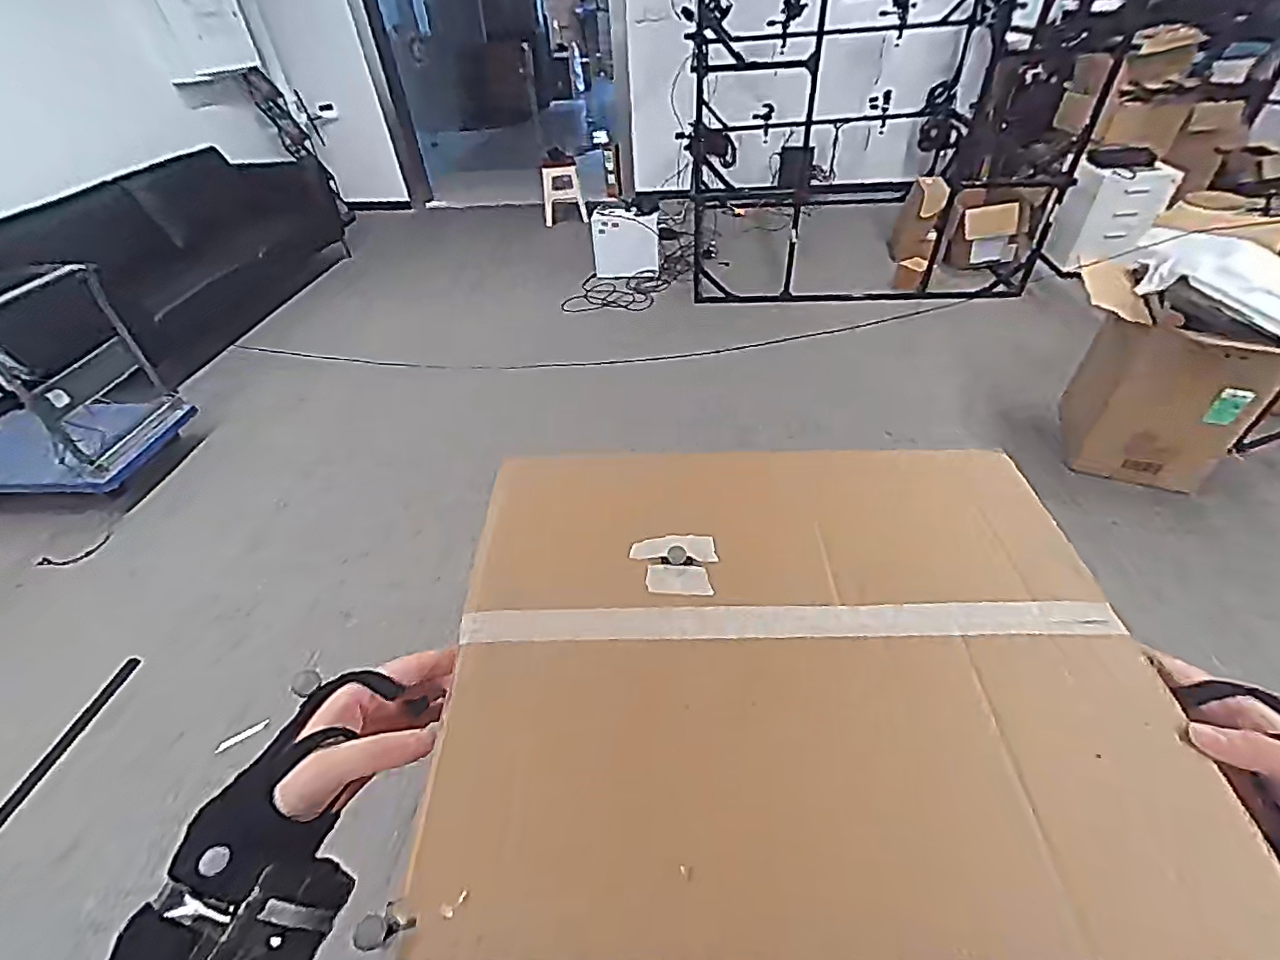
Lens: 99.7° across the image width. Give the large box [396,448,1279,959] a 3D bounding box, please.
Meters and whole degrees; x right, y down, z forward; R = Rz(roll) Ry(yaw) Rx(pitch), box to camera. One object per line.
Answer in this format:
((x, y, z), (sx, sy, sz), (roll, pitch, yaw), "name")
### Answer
((0.096, 0.195, 0.438), (0.408, 0.320, 0.320), (-2, 46, 2), "large box")
